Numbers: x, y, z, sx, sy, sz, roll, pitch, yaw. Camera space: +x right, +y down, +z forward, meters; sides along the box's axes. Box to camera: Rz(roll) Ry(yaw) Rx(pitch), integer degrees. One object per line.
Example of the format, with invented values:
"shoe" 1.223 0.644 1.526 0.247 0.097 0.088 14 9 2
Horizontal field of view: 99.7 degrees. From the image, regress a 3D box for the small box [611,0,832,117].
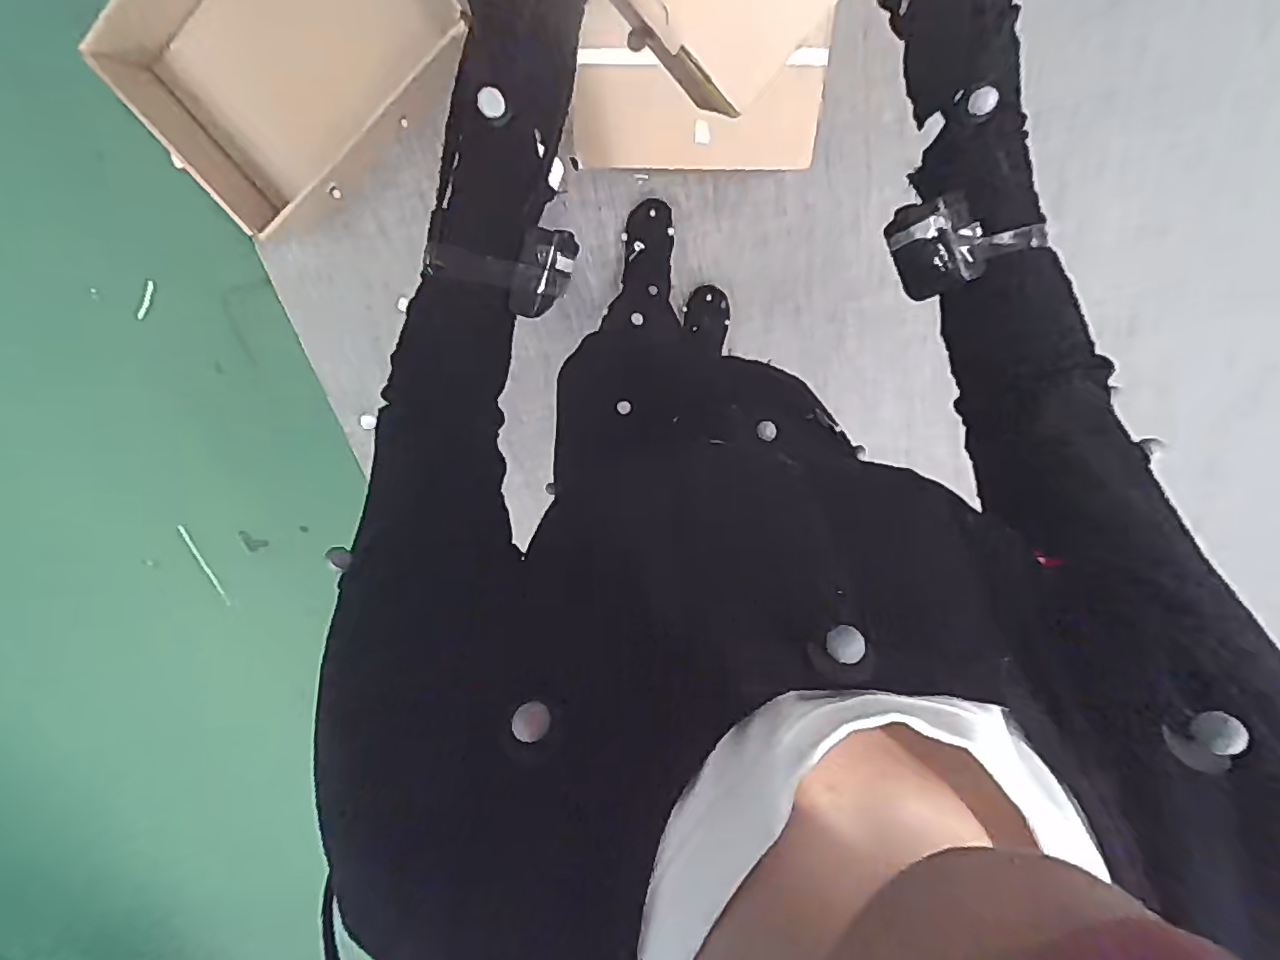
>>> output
"small box" 0.059 -0.397 0.376 0.168 0.176 0.179 35 117 -27
